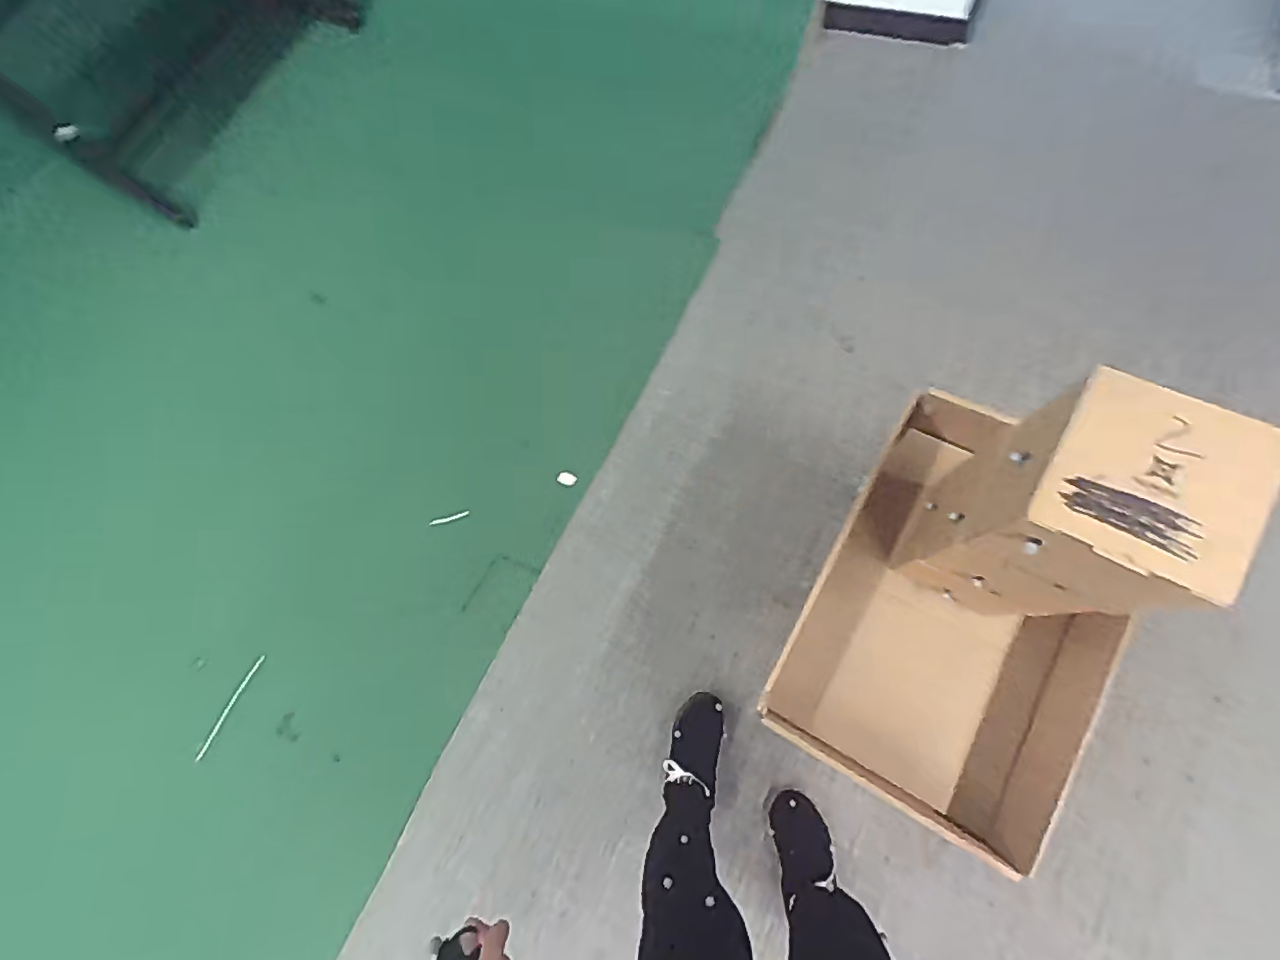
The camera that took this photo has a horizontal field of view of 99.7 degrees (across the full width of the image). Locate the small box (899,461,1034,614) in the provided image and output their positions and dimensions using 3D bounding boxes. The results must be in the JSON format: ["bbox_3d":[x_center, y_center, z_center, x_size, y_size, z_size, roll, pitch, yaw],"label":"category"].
[{"bbox_3d":[0.547,0.100,0.876,0.168,0.176,0.179,28,82,18],"label":"small box"}]

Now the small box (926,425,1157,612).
[{"bbox_3d":[0.514,0.059,0.723,0.168,0.176,0.179,27,82,17],"label":"small box"}]
